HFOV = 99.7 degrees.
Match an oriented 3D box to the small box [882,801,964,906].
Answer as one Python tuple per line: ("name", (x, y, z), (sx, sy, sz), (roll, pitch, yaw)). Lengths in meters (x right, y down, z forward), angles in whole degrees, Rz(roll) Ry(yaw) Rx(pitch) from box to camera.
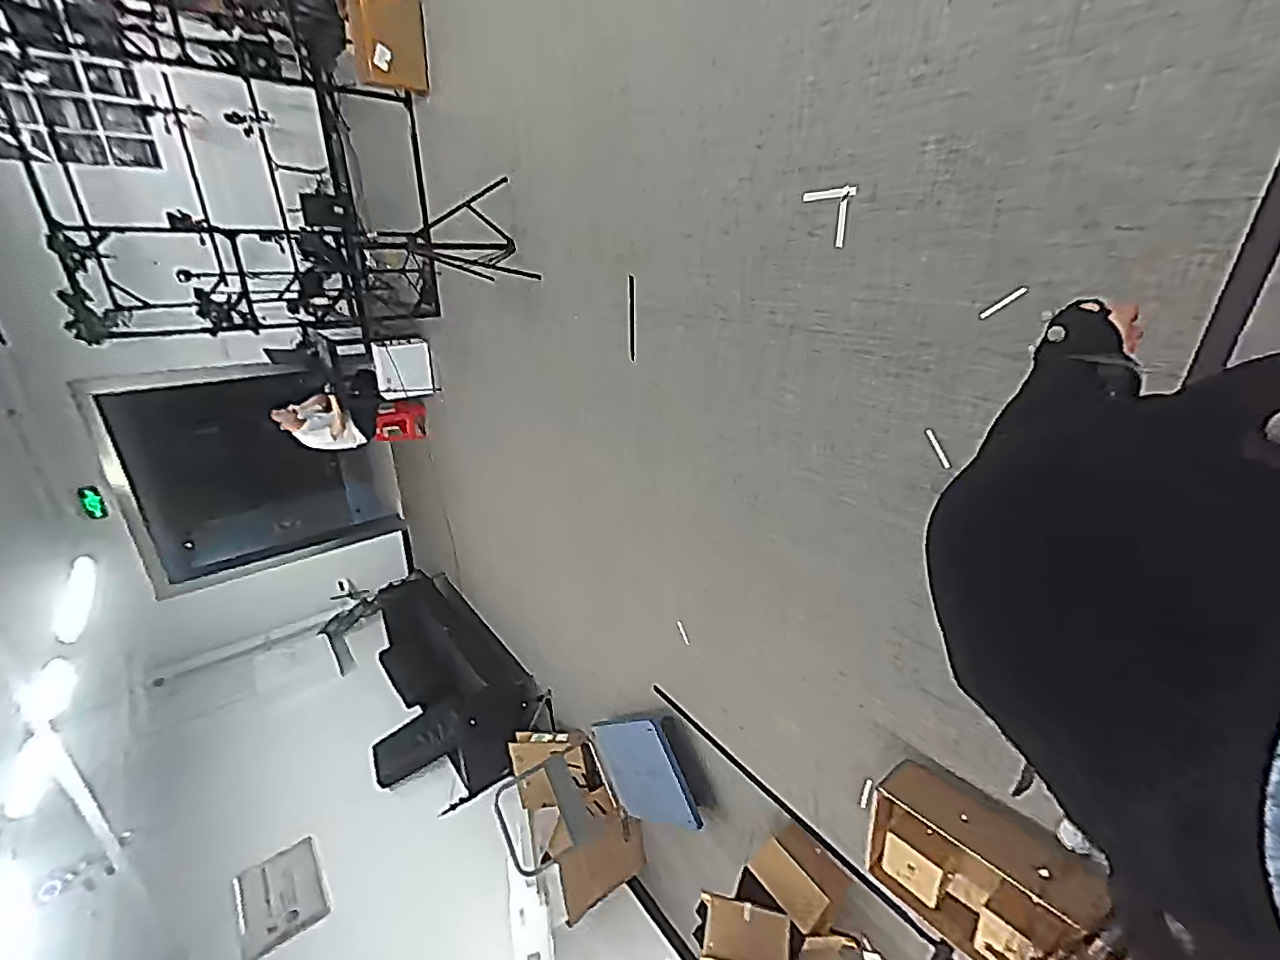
("small box", (0.895, 1.169, 1.706), (0.168, 0.176, 0.179), (23, 123, 48))
